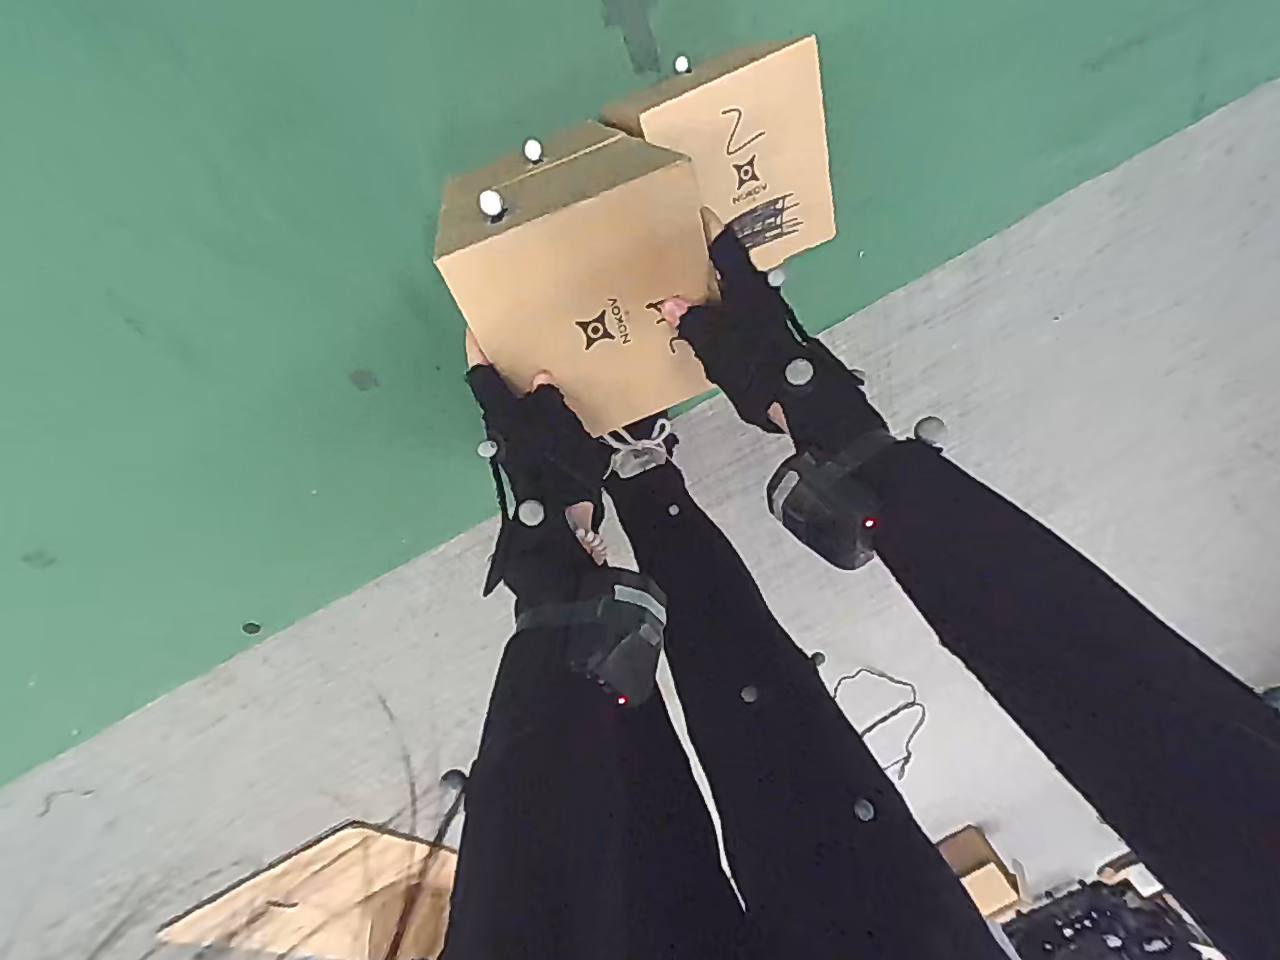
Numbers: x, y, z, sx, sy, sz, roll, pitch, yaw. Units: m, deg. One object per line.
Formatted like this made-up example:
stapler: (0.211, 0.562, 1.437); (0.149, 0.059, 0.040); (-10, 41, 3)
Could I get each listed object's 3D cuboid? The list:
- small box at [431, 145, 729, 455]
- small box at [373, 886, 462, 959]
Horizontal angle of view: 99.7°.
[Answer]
small box: (-0.049, -0.155, 0.448); (0.179, 0.176, 0.168); (-23, 129, -2)
small box: (-0.615, 1.255, 1.489); (0.179, 0.176, 0.168); (-35, 129, 9)
